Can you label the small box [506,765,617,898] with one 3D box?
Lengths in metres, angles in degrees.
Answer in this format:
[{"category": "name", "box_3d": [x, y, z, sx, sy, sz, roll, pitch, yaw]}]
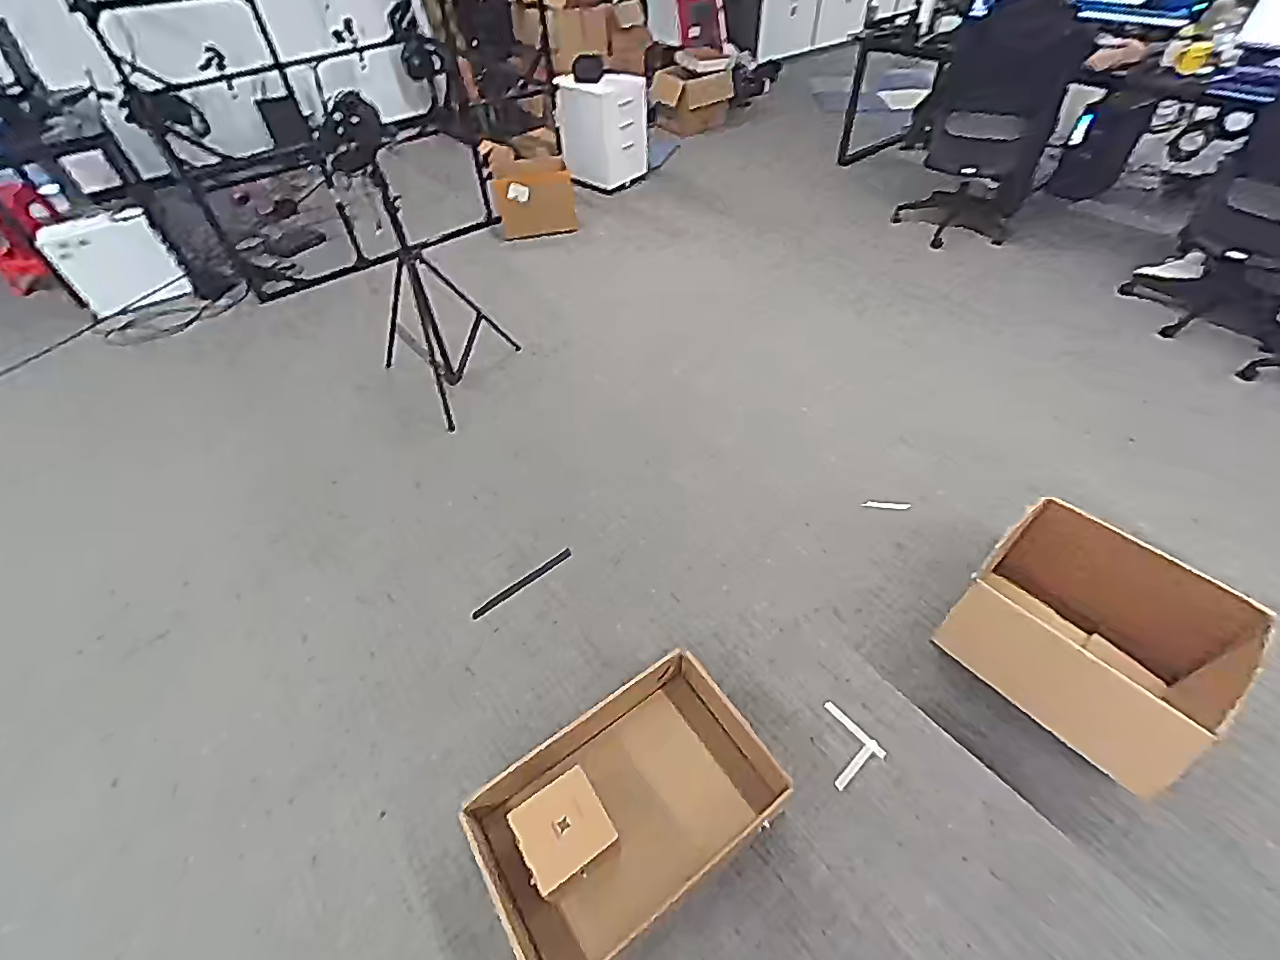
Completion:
[{"category": "small box", "box_3d": [-0.161, 0.759, 1.164, 0.179, 0.176, 0.168, -28, 55, -23]}]
